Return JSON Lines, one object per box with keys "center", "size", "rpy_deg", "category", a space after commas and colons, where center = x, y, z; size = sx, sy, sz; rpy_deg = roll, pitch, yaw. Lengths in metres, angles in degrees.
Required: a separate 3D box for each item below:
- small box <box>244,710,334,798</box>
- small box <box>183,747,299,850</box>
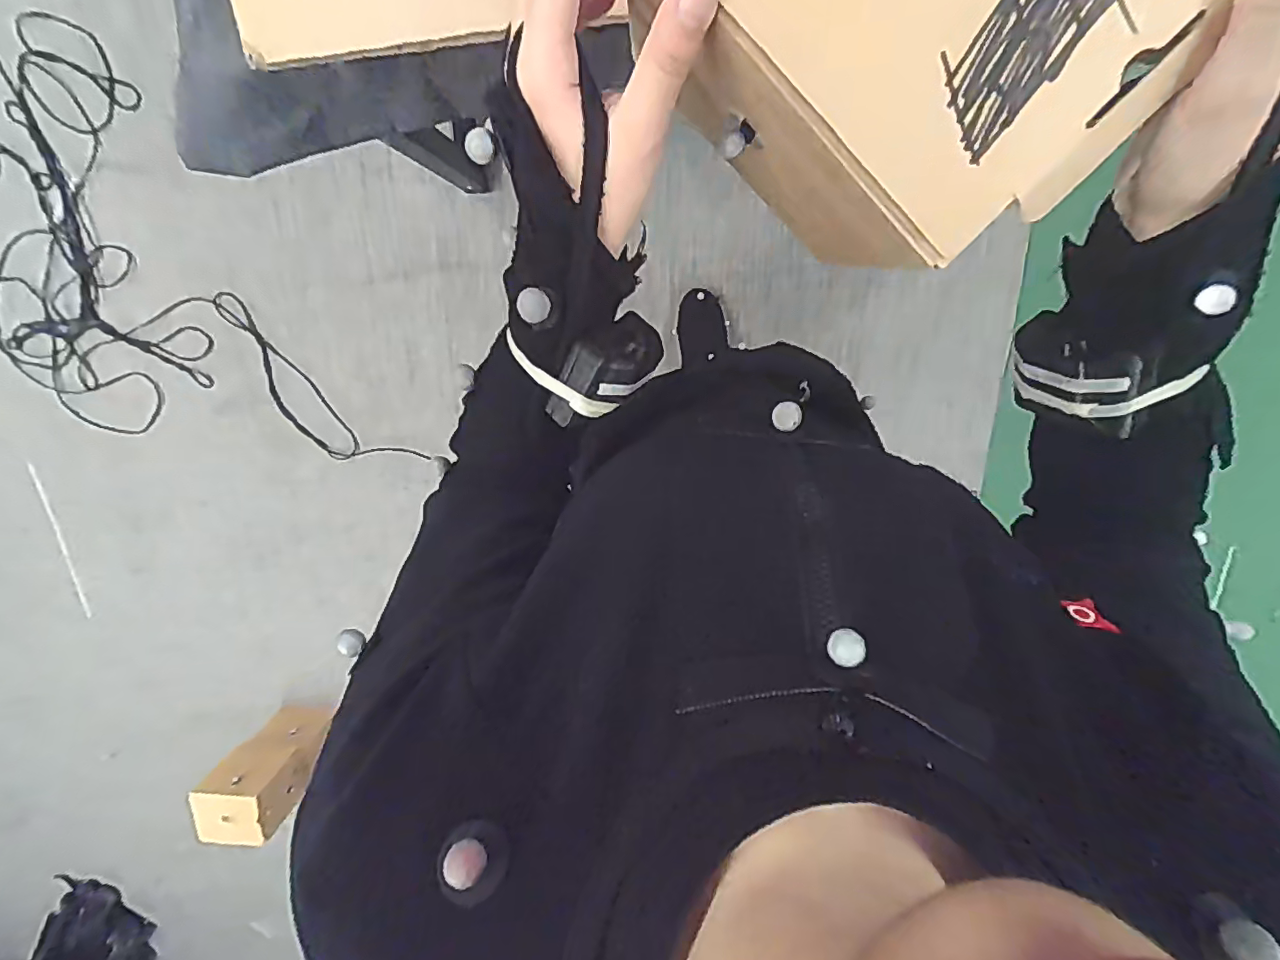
{"center": [-1.035, 0.805, 1.600], "size": [0.179, 0.176, 0.168], "rpy_deg": [3, 107, 0], "category": "small box"}
{"center": [-1.054, 0.841, 1.441], "size": [0.179, 0.176, 0.168], "rpy_deg": [3, 107, 1], "category": "small box"}
